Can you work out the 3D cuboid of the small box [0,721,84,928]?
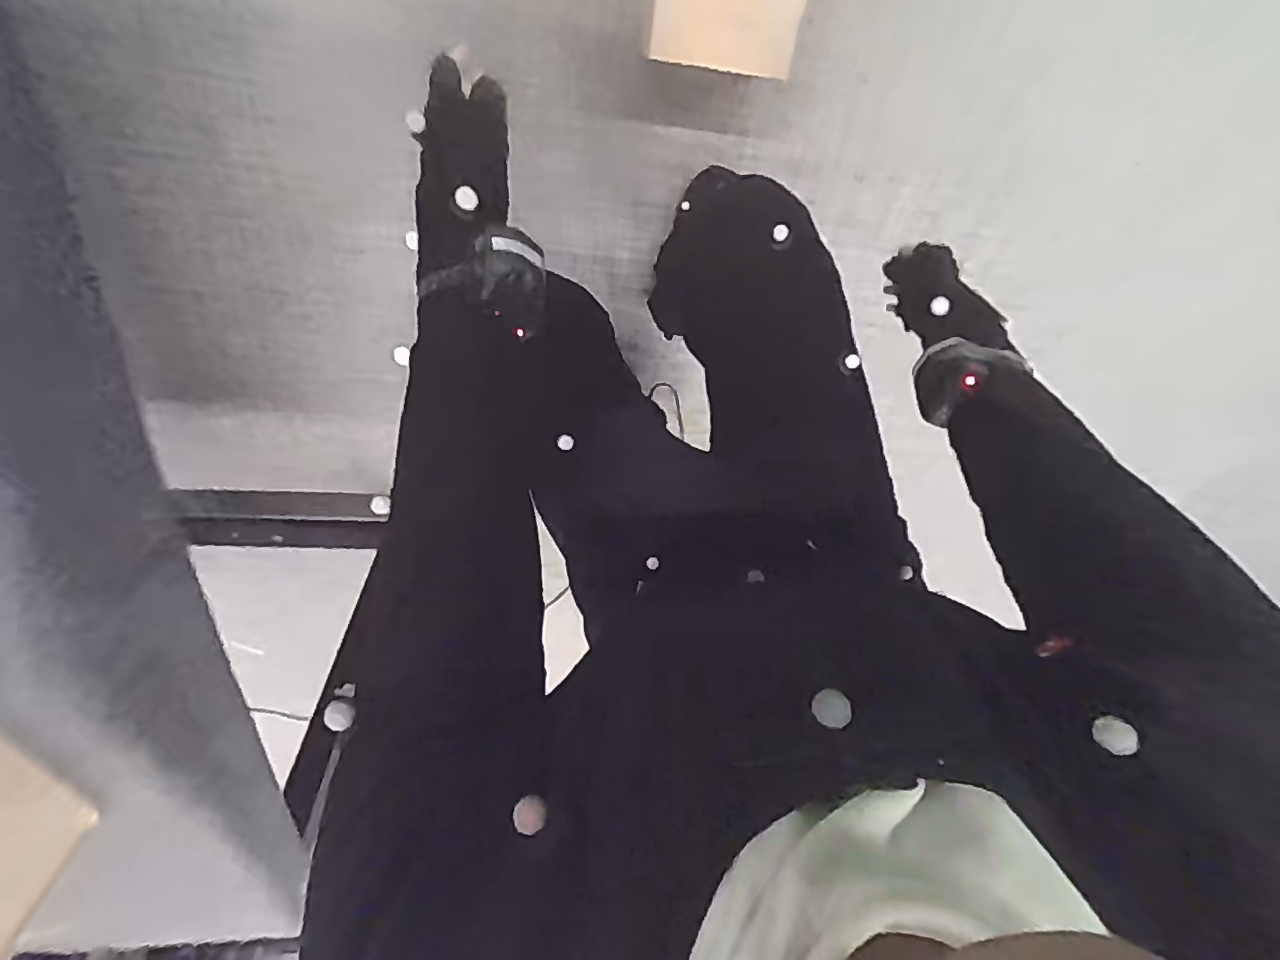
[{"bbox_3d":[-0.500,0.236,0.311,0.168,0.176,0.179,4,129,-7],"label":"small box"}]

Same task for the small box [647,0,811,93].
[{"bbox_3d":[0.102,-0.582,0.637,0.168,0.176,0.179,4,130,-7],"label":"small box"}]
